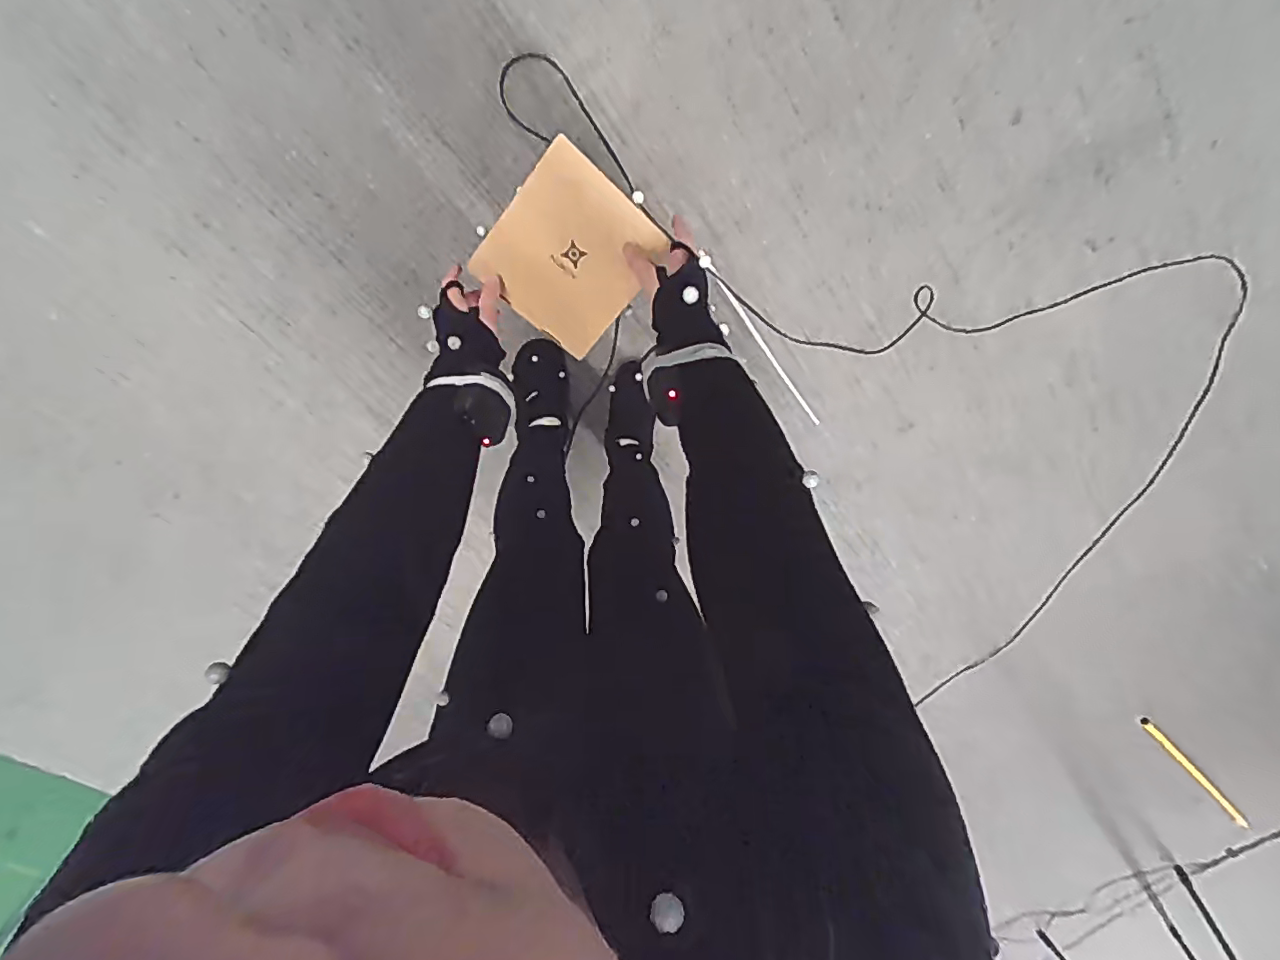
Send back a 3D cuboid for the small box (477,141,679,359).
[{"bbox_3d":[-0.076,-0.291,0.683,0.168,0.176,0.179,37,113,-21],"label":"small box"}]
